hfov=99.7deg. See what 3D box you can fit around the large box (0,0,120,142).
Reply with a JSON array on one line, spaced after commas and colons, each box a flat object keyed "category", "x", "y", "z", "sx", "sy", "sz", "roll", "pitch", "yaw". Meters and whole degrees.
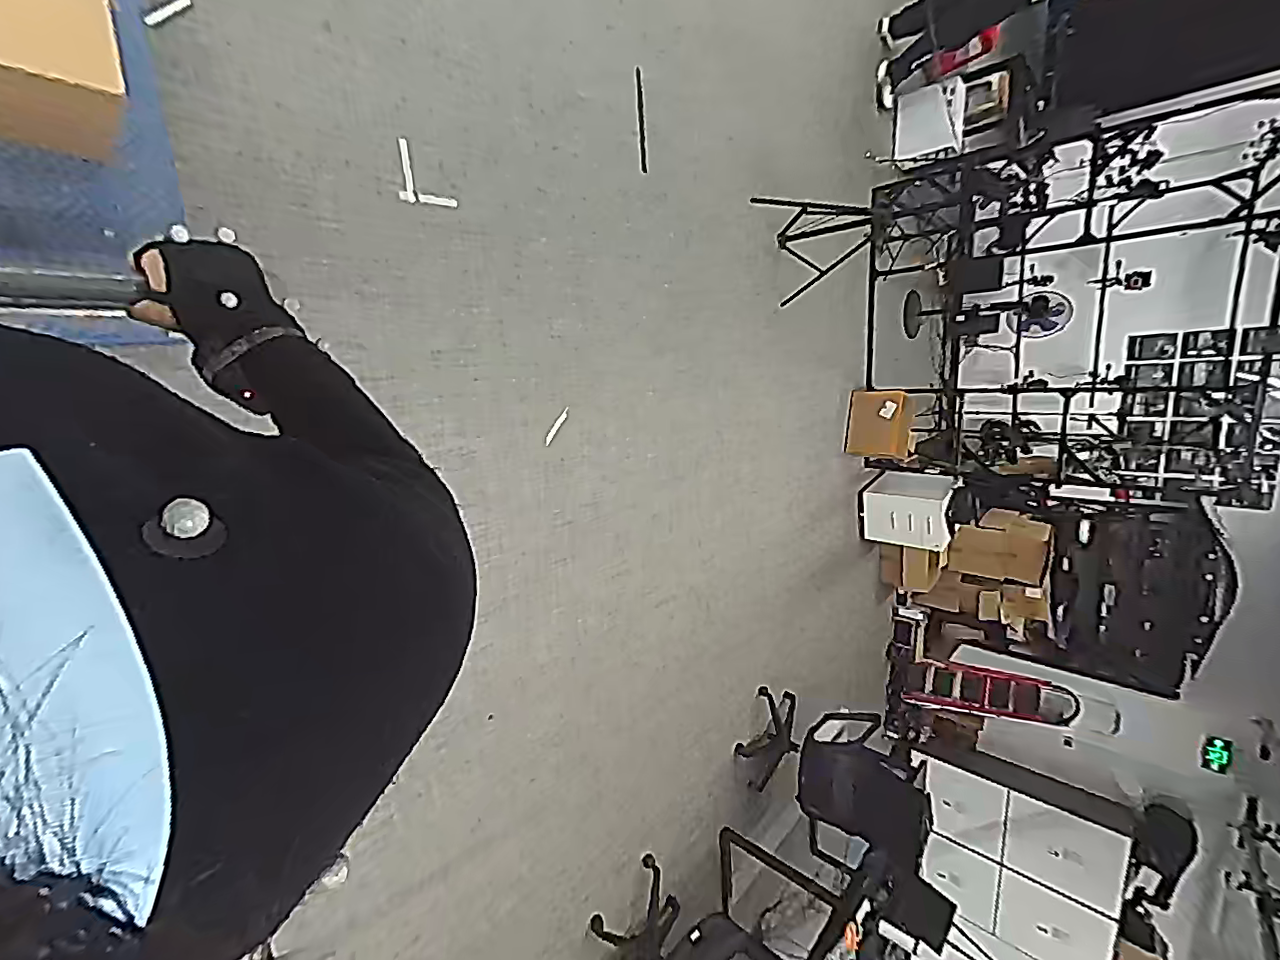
[{"category": "large box", "x": -0.956, "y": -0.676, "z": 0.666, "sx": 0.408, "sy": 0.320, "sz": 0.320, "roll": -13, "pitch": 105, "yaw": -46}]
